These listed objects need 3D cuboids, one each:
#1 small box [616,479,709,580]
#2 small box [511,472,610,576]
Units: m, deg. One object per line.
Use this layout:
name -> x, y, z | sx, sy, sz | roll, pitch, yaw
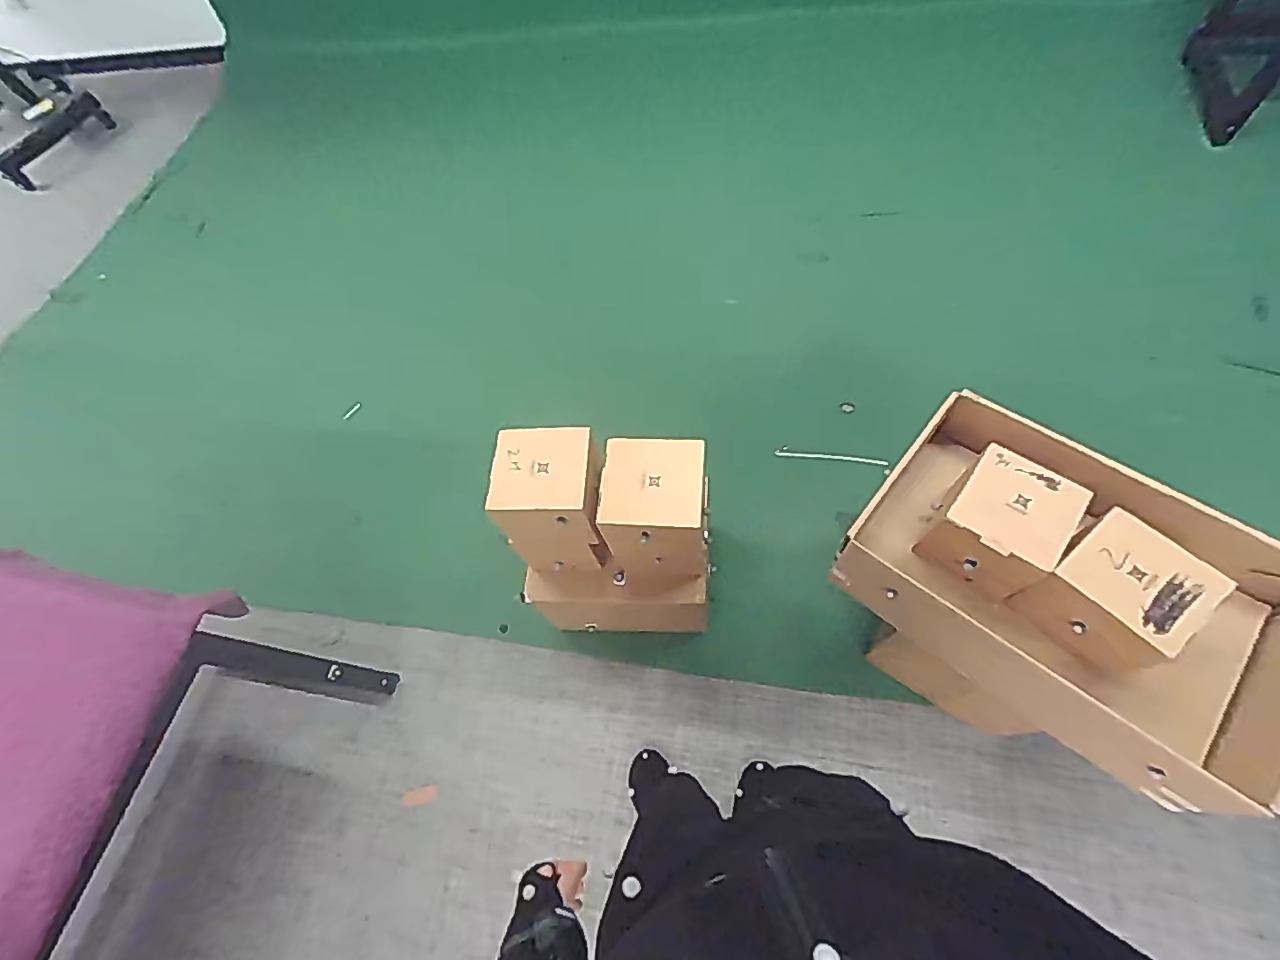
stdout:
small box -> 0.053, 0.110, 1.139 | 0.179, 0.176, 0.168 | -1, 63, 8
small box -> -0.162, 0.098, 1.178 | 0.168, 0.176, 0.179 | 0, 63, 8
